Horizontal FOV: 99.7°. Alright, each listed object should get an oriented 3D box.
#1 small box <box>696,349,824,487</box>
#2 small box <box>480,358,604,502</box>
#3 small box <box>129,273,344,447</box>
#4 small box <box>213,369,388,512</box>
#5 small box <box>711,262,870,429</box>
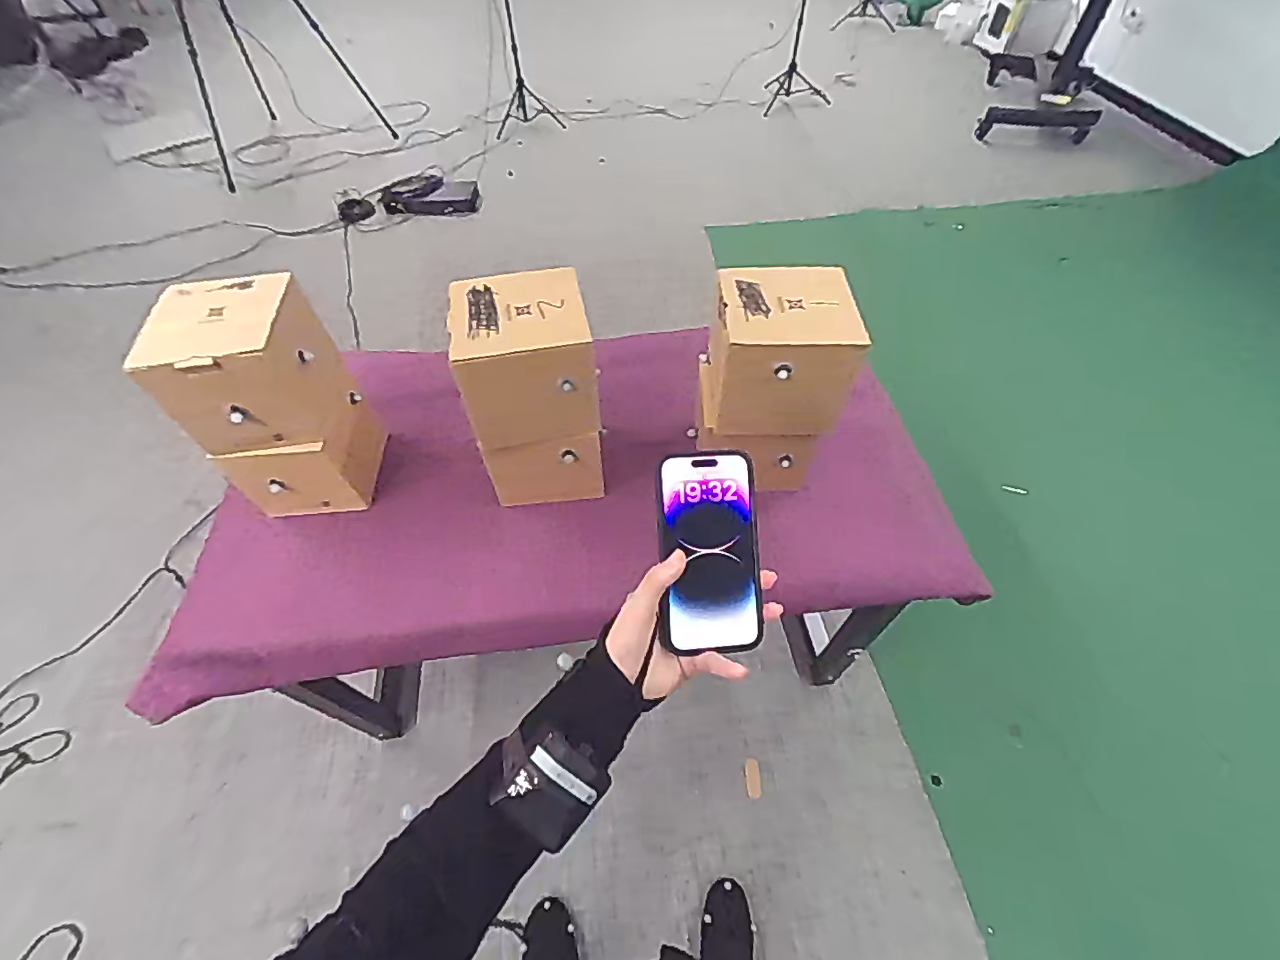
[{"bbox_3d":[0.188,-0.099,0.902,0.179,0.176,0.168,-1,53,2],"label":"small box"},{"bbox_3d":[-0.151,-0.079,0.896,0.179,0.176,0.168,-6,54,-2],"label":"small box"},{"bbox_3d":[-0.547,-0.162,0.767,0.168,0.176,0.179,-9,54,-6],"label":"small box"},{"bbox_3d":[-0.542,-0.058,0.894,0.168,0.176,0.179,-5,53,-2],"label":"small box"},{"bbox_3d":[0.194,-0.185,0.762,0.179,0.176,0.168,0,53,1],"label":"small box"}]
